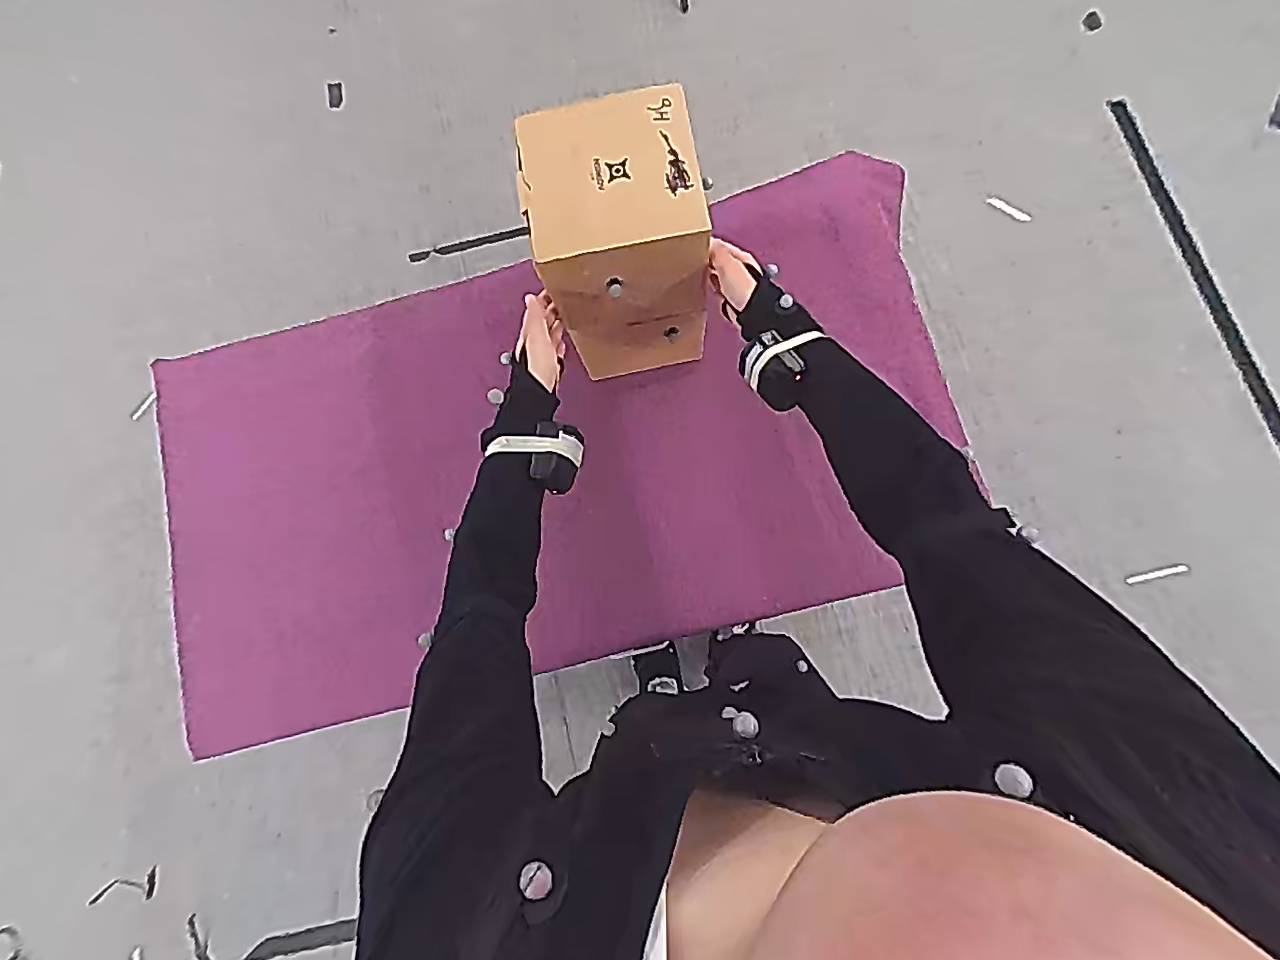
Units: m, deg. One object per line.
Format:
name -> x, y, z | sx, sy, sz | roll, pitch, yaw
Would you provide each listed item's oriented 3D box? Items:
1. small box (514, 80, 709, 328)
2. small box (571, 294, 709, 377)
small box -> -0.022, -0.288, 0.603 | 0.179, 0.176, 0.168 | -10, 81, 4
small box -> -0.006, -0.261, 0.765 | 0.179, 0.176, 0.168 | -11, 80, 3
